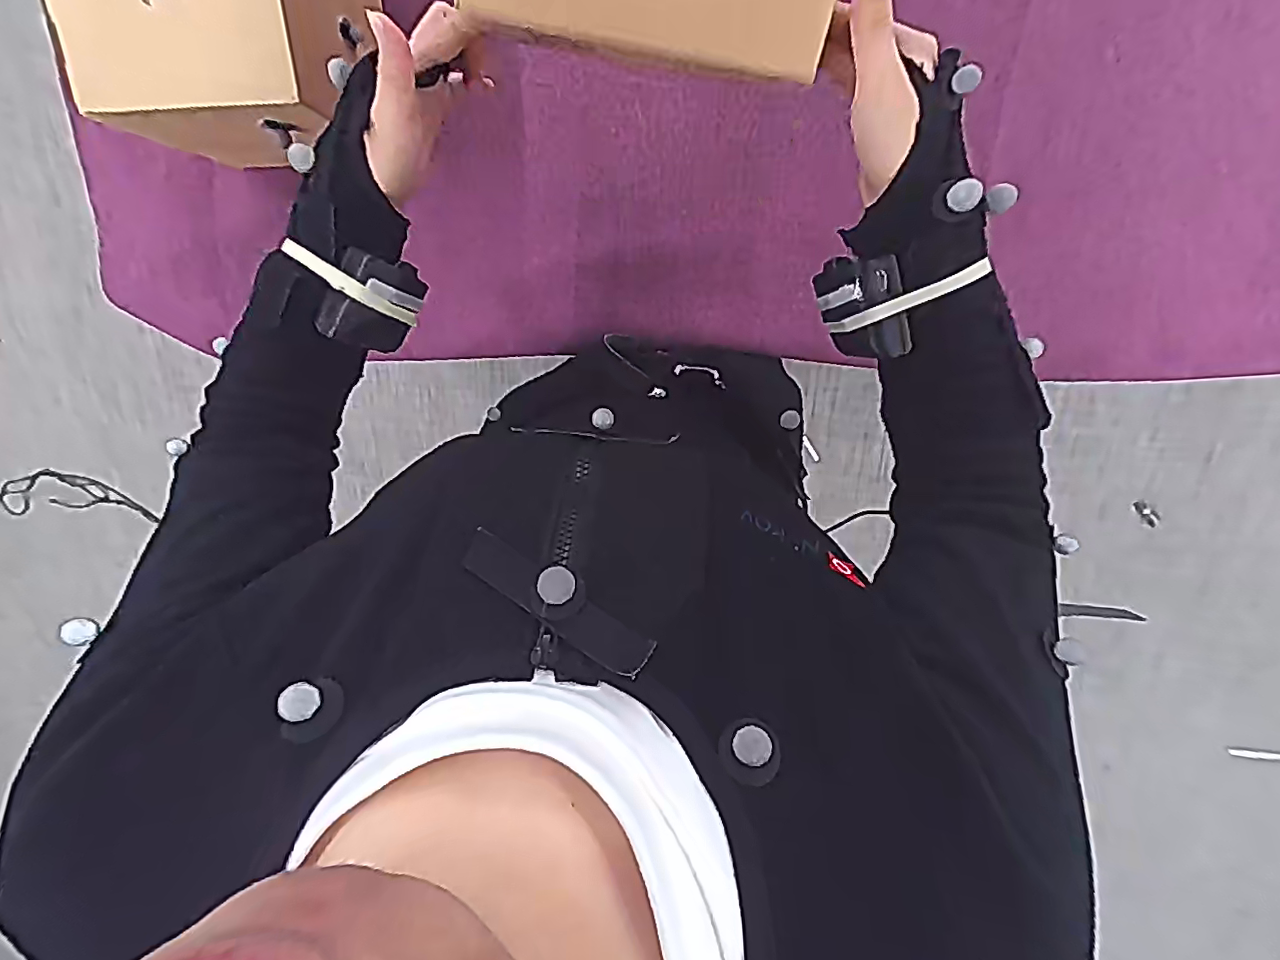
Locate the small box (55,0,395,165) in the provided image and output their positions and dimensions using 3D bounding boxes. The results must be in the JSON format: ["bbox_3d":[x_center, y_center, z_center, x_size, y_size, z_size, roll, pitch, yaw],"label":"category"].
[{"bbox_3d":[-0.328,-0.378,0.454,0.179,0.176,0.168,0,107,3],"label":"small box"}]
